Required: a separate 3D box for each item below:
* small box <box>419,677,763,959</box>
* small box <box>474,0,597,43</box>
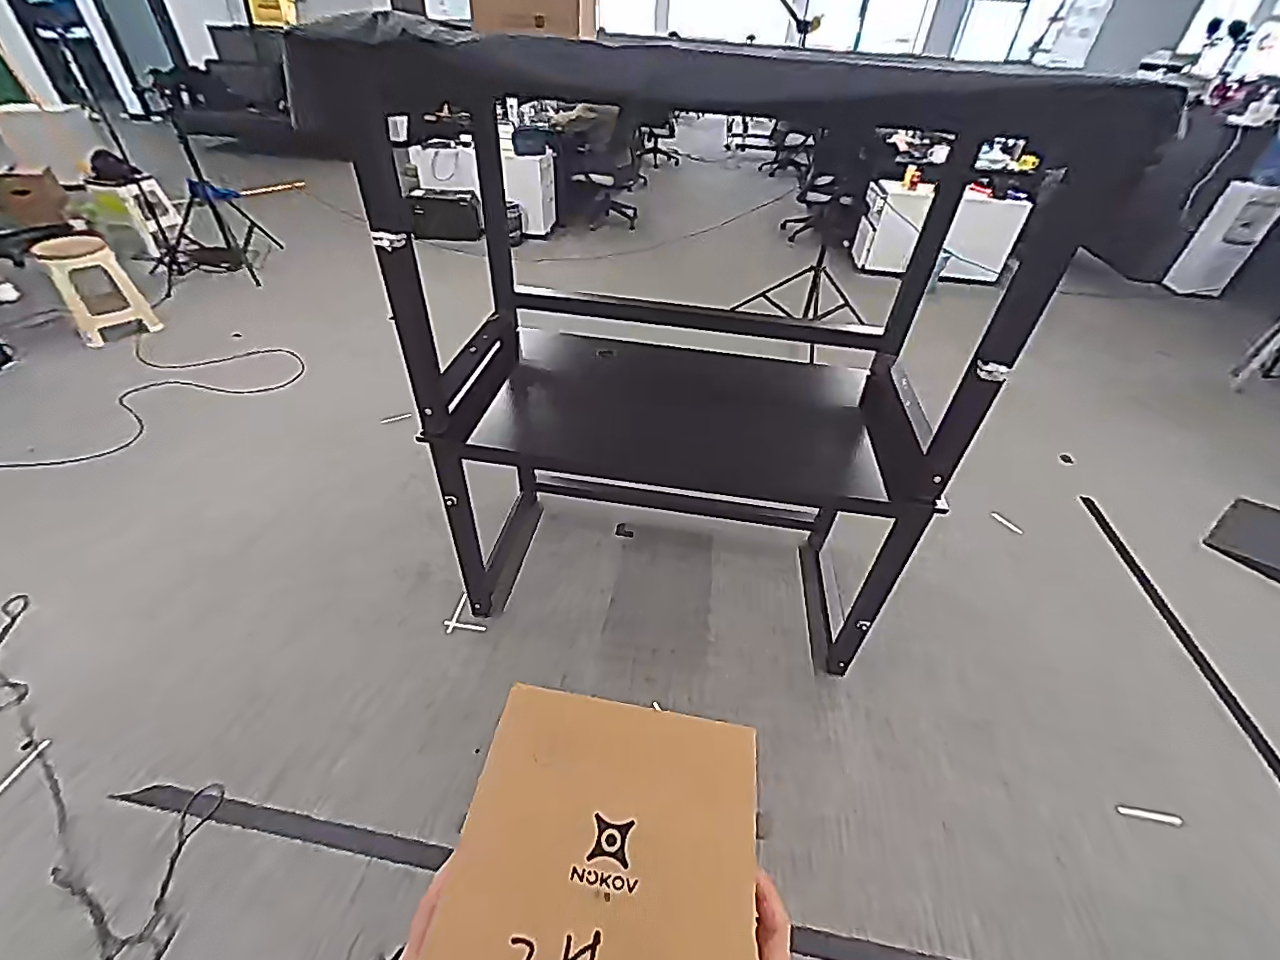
[{"bbox_3d":[-0.021,0.260,0.348,0.168,0.176,0.179,9,44,4],"label":"small box"},{"bbox_3d":[-0.156,-0.775,0.819,0.168,0.176,0.179,6,40,1],"label":"small box"}]
